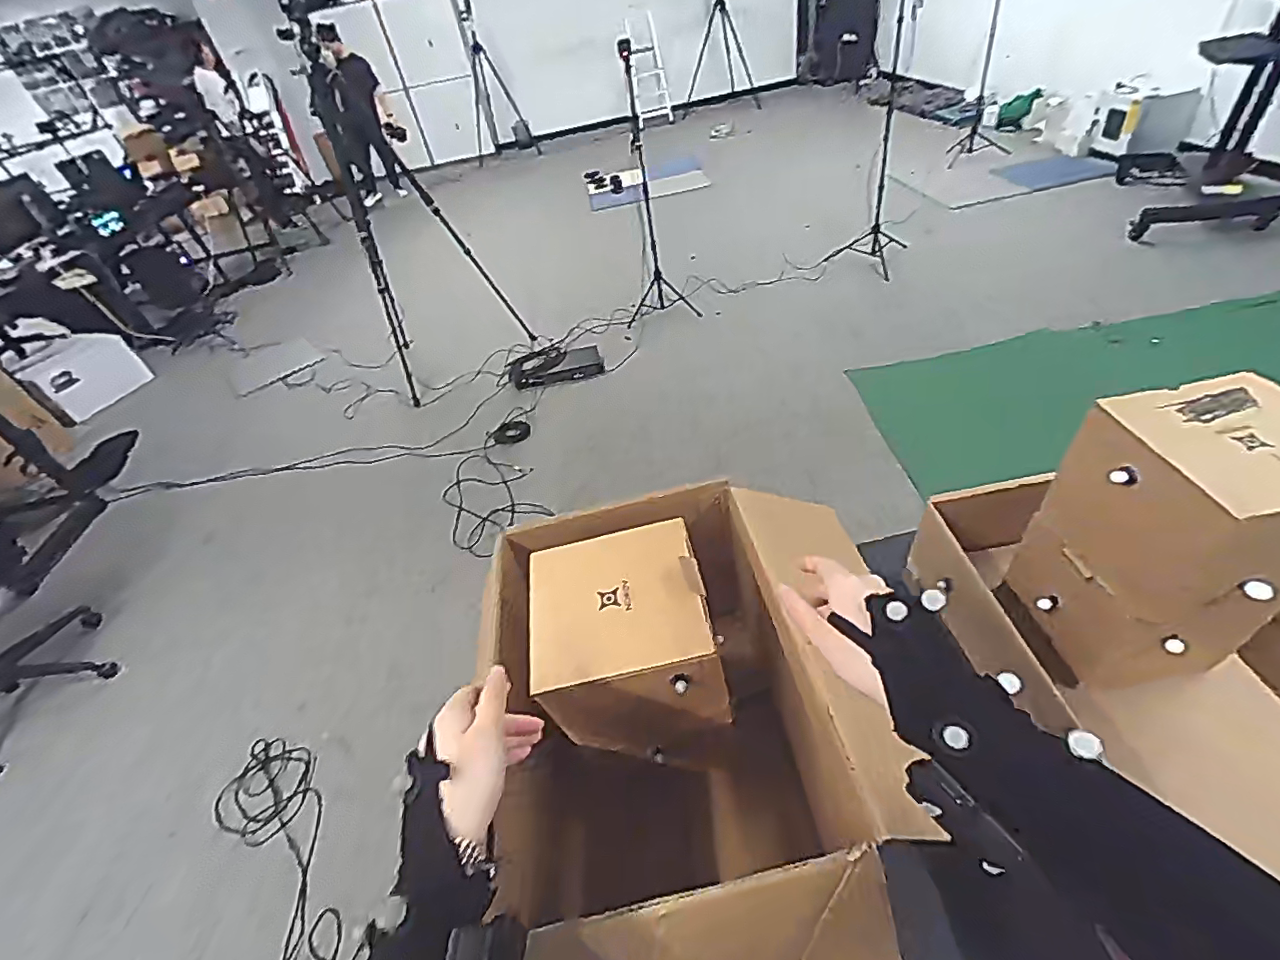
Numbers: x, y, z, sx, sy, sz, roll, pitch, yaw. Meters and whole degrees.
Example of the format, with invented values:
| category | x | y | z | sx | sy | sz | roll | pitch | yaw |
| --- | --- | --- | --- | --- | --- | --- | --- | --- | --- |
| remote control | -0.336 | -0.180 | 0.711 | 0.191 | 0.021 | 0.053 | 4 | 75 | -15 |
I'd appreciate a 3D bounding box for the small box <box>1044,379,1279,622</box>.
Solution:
| category | x | y | z | sx | sy | sz | roll | pitch | yaw |
| --- | --- | --- | --- | --- | --- | --- | --- | --- | --- |
| small box | 0.580 | 0.022 | 0.571 | 0.168 | 0.176 | 0.179 | -11 | 44 | 3 |
